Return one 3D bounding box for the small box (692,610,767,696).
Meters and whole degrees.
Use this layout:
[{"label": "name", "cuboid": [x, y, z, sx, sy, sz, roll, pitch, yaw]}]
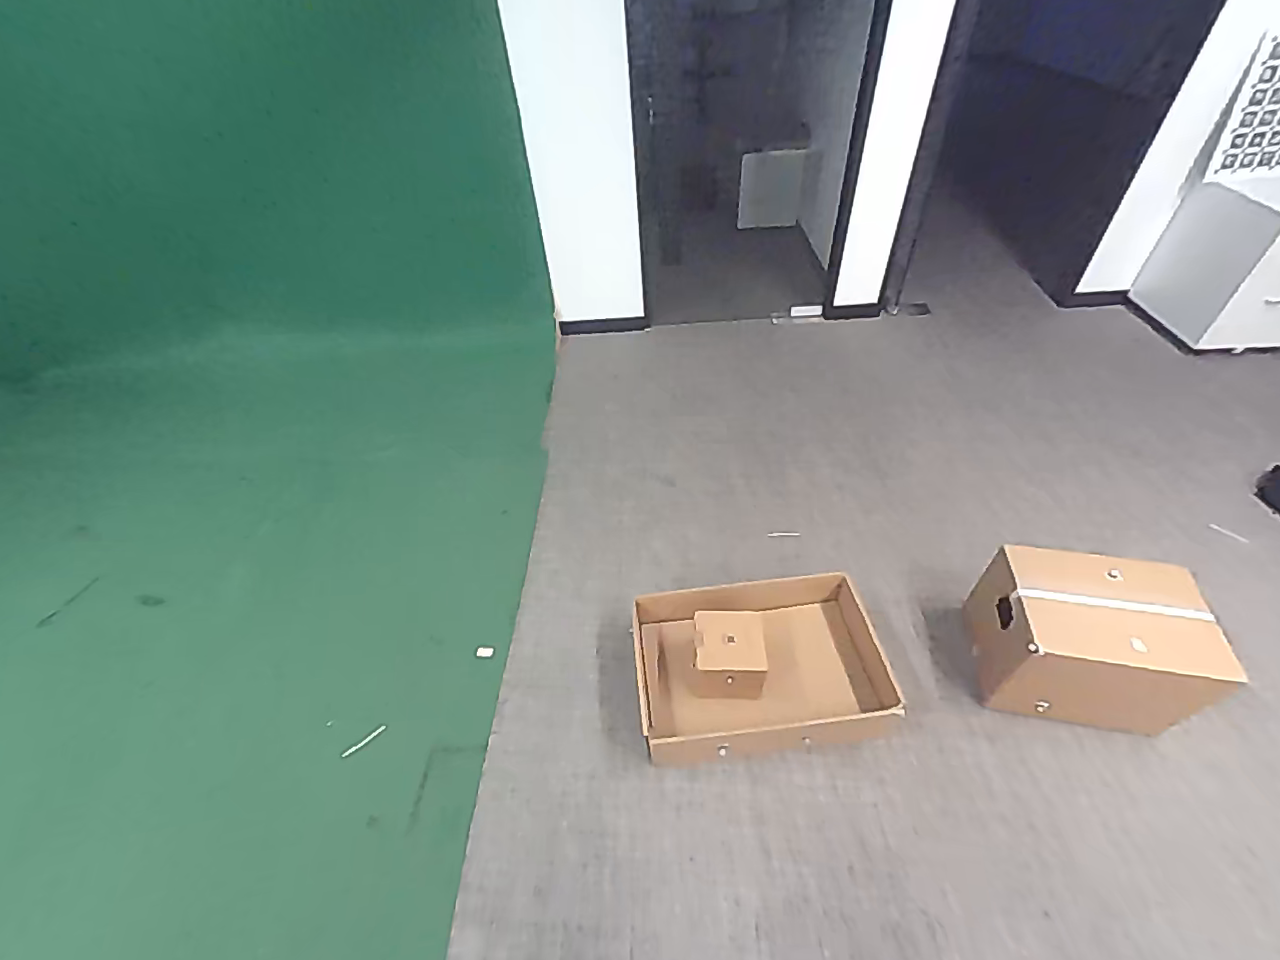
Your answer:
[{"label": "small box", "cuboid": [0.229, 0.462, 1.436, 0.179, 0.176, 0.168, 0, 46, 2]}]
